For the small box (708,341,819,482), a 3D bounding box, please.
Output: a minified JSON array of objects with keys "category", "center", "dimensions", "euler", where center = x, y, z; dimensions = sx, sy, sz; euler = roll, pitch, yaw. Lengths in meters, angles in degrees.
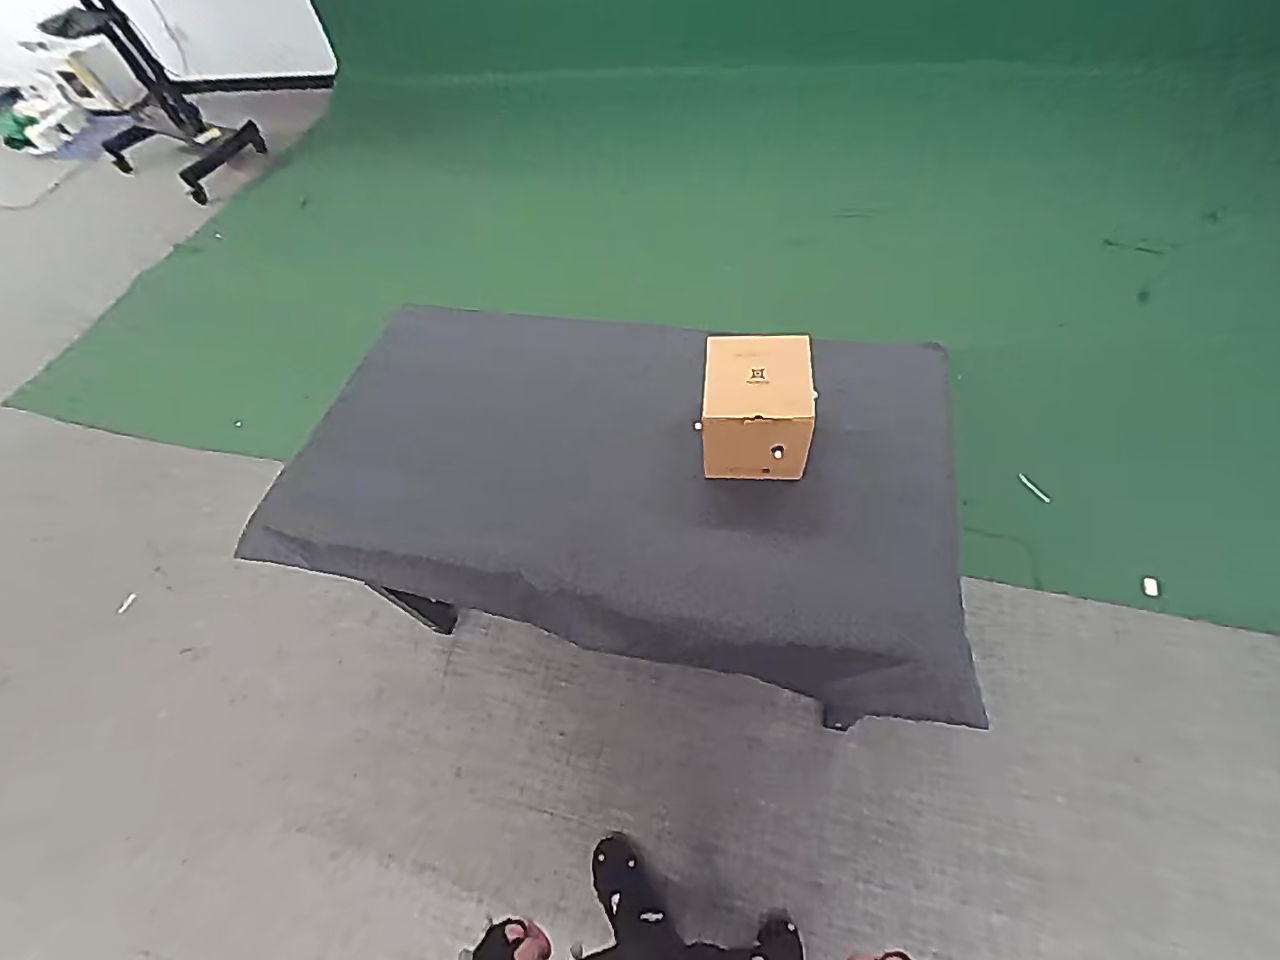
[{"category":"small box","center":[0.201,-0.112,0.914],"dimensions":[0.168,0.176,0.179],"euler":[3,57,8]}]
